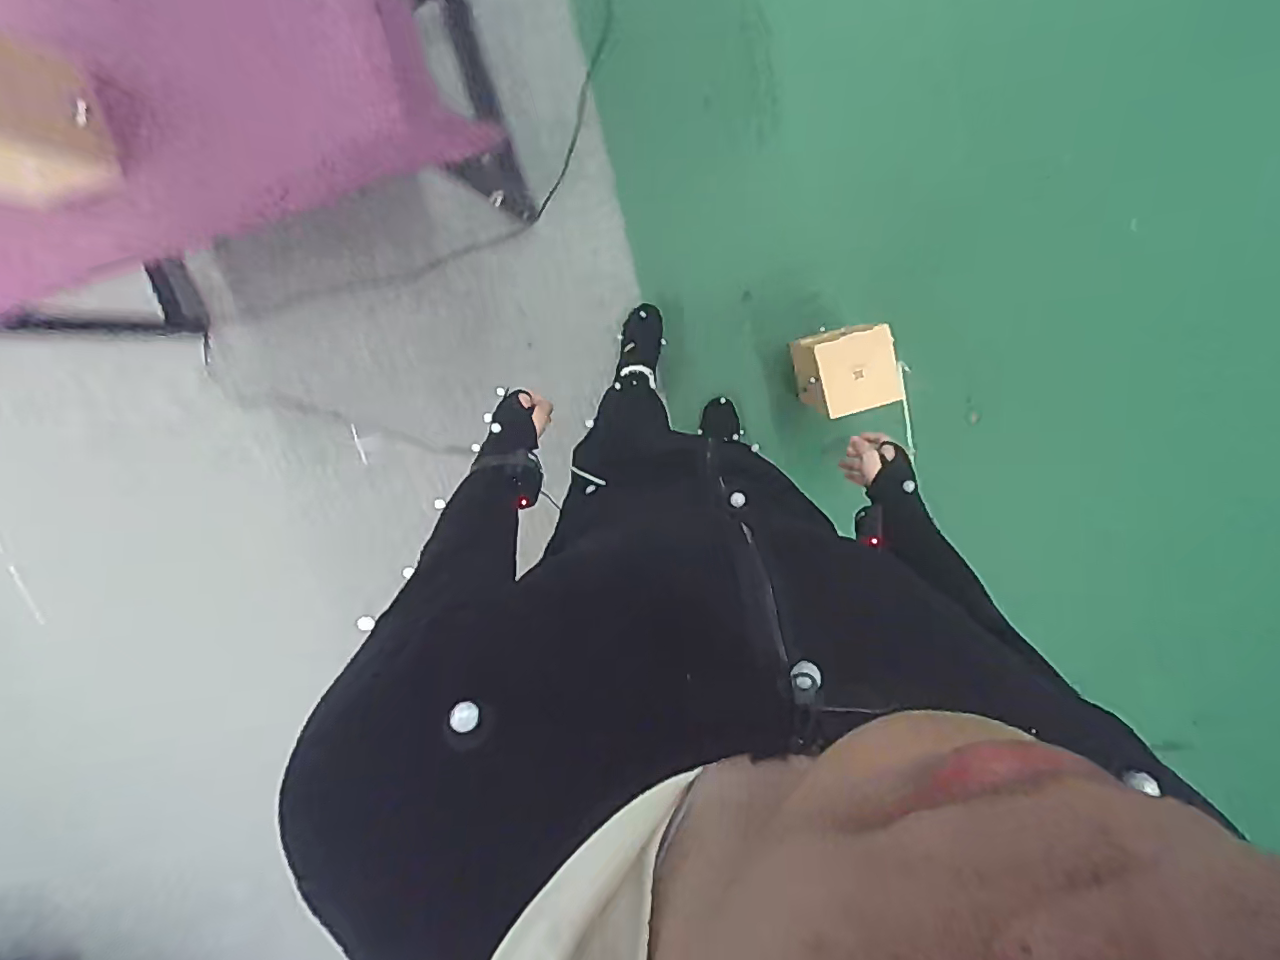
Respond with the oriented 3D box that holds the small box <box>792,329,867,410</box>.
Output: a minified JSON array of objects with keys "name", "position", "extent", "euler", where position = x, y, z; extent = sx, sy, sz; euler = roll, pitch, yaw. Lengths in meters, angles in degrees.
[{"name":"small box","position":[0.511,-0.297,1.437],"extent":[0.168,0.176,0.179],"euler":[-12,102,9]}]

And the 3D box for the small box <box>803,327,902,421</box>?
[{"name":"small box","position":[0.497,-0.253,1.281],"extent":[0.168,0.176,0.179],"euler":[-15,101,10]}]
